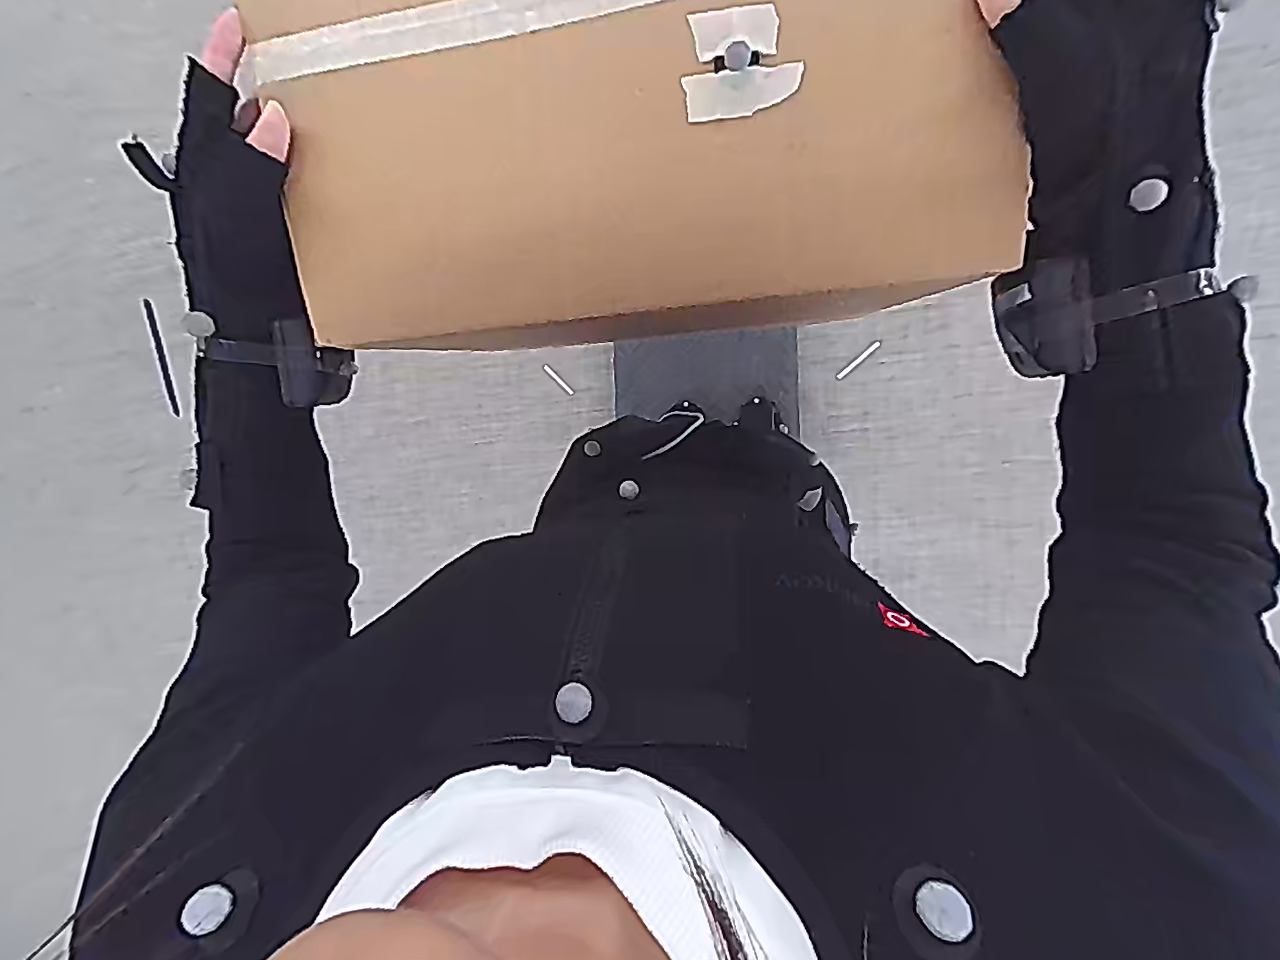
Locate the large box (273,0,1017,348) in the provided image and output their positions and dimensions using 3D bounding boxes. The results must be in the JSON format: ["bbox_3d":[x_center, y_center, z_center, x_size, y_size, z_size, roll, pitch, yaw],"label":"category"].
[{"bbox_3d":[0.005,-0.288,0.432,0.408,0.320,0.320,-4,103,9],"label":"large box"}]
